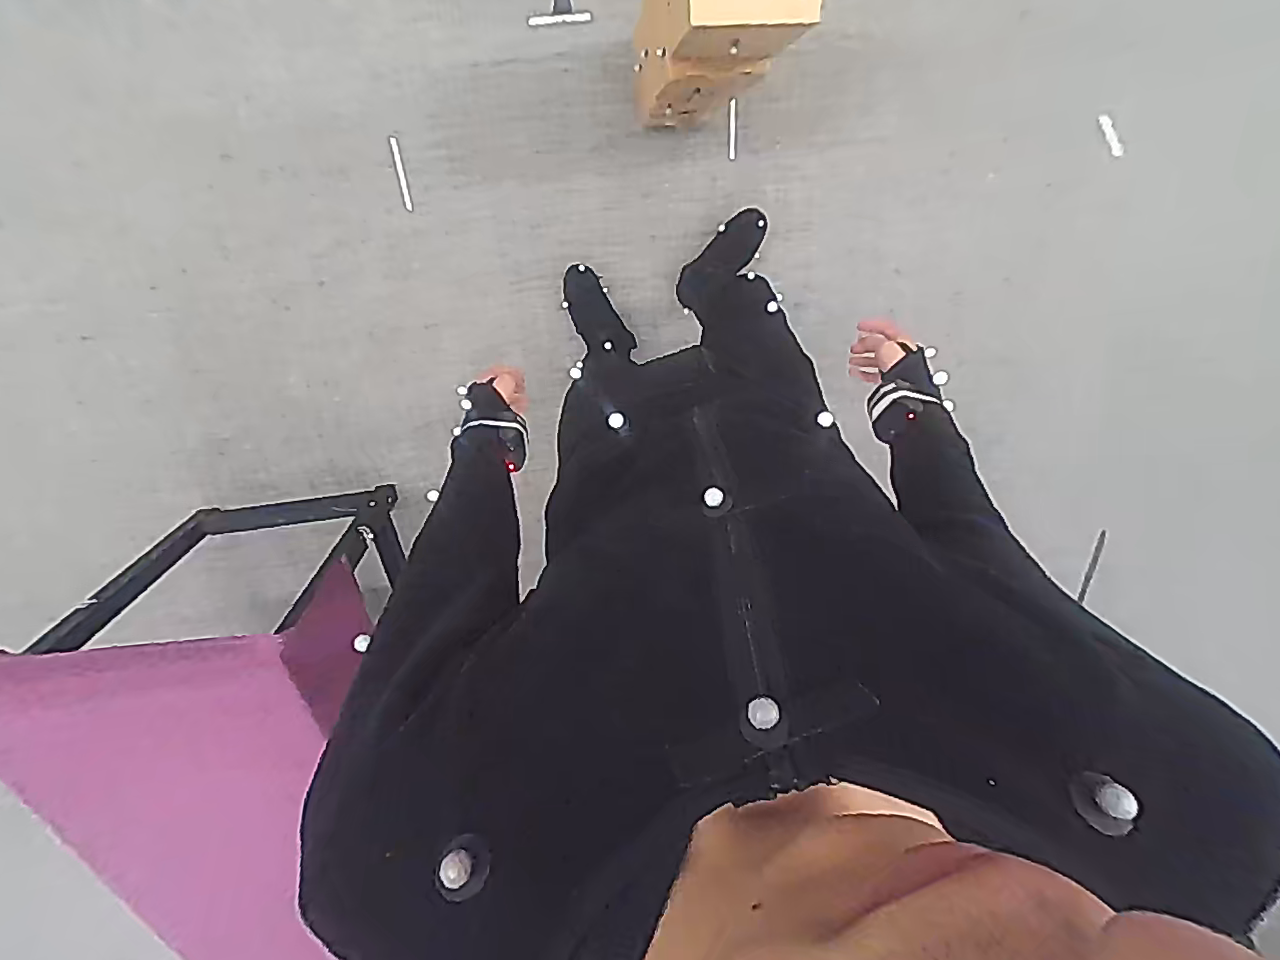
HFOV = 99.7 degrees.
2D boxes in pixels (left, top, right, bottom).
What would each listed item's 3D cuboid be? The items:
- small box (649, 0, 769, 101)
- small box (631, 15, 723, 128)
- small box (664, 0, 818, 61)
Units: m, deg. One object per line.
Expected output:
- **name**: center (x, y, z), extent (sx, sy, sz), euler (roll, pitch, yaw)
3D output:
- **small box**: center (0.109, -0.749, 0.889), extent (0.168, 0.176, 0.179), euler (-7, 118, -4)
- **small box**: center (0.077, -0.891, 1.183), extent (0.168, 0.176, 0.179), euler (-10, 118, -2)
- **small box**: center (0.132, -0.693, 0.736), extent (0.179, 0.176, 0.168), euler (-5, 117, -4)
